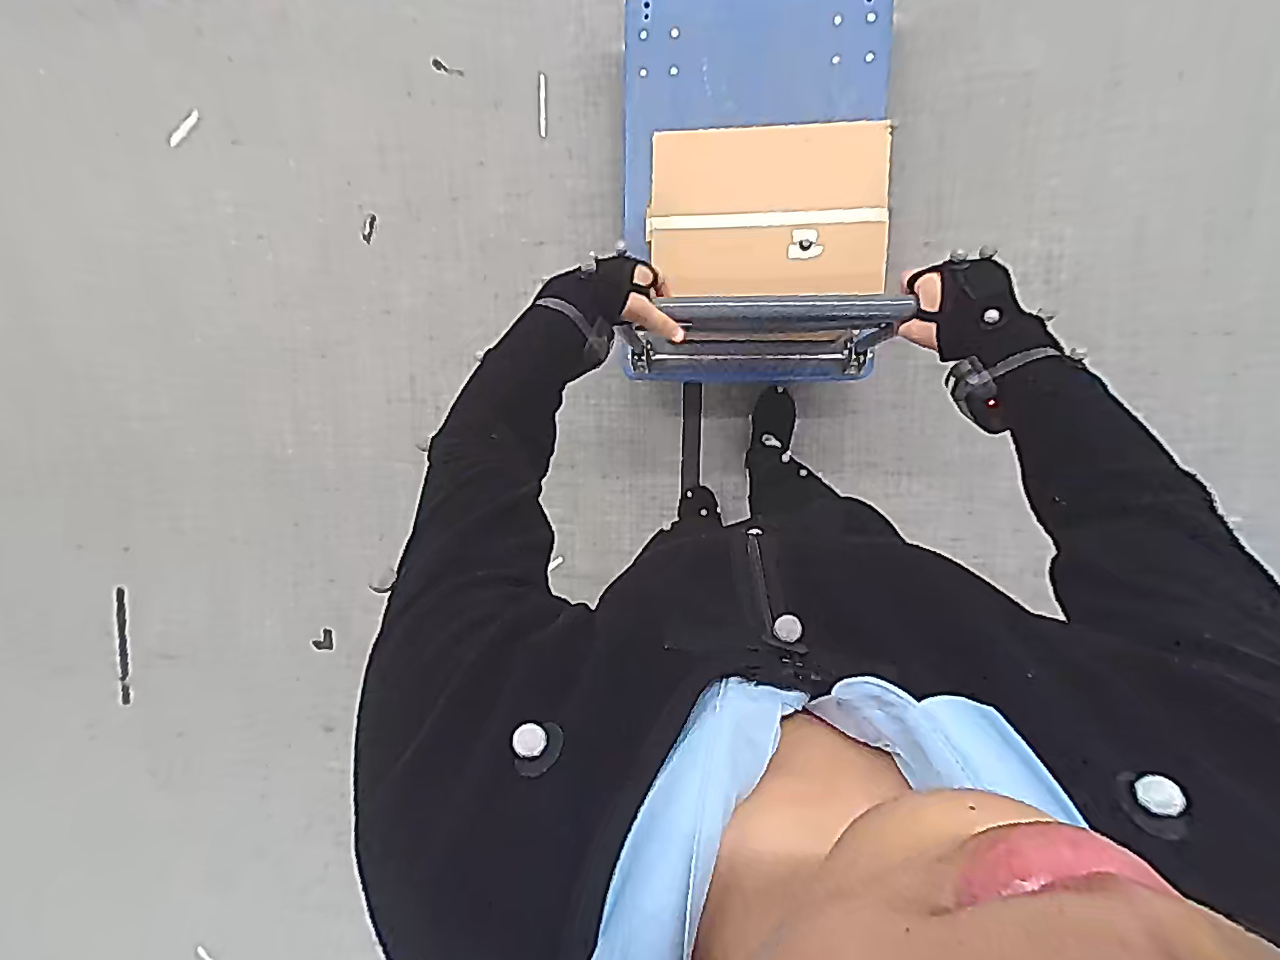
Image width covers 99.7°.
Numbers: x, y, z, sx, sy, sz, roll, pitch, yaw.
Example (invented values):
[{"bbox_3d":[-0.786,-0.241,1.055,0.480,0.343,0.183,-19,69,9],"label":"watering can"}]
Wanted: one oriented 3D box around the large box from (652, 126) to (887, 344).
[{"bbox_3d":[0.234,-0.459,1.089,0.408,0.320,0.320,1,96,6],"label":"large box"}]
